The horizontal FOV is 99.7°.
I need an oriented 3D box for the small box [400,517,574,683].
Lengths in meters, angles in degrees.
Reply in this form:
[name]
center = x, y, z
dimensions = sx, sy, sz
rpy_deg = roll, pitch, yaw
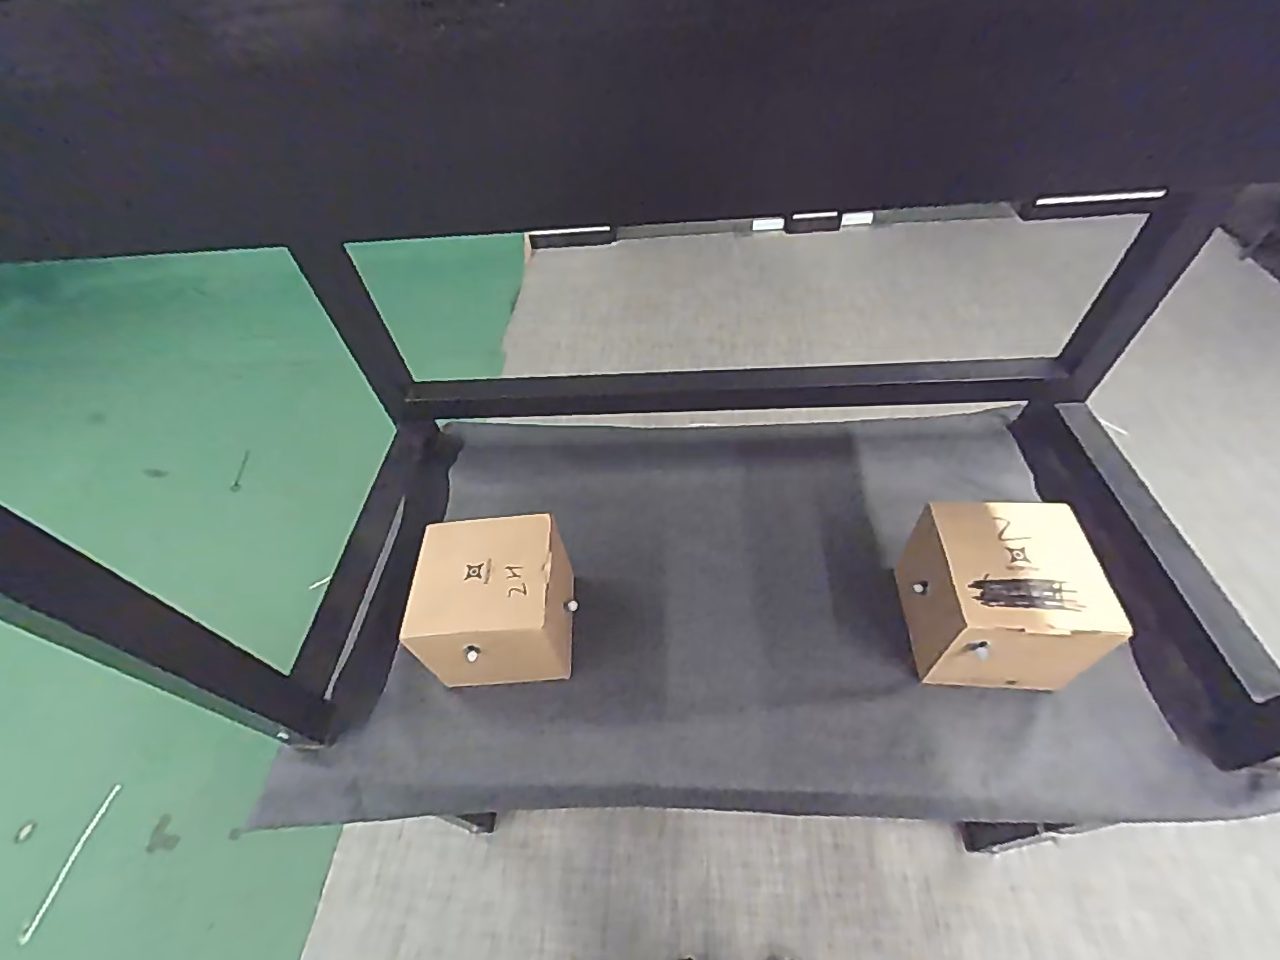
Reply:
[small box]
center = -0.195, 0.170, 0.747
dimensions = 0.179, 0.176, 0.168
rpy_deg = -4, 51, 2
